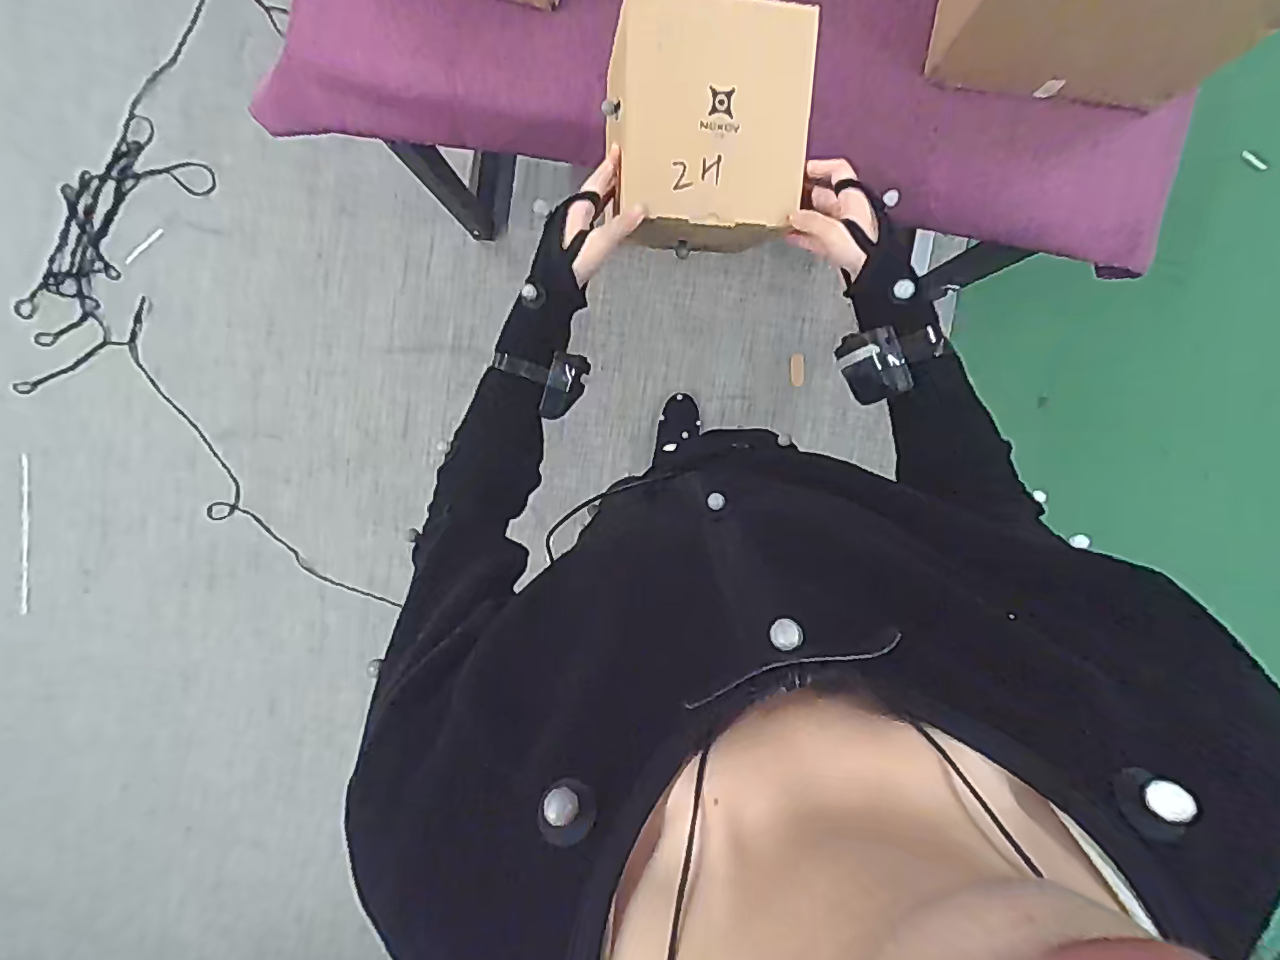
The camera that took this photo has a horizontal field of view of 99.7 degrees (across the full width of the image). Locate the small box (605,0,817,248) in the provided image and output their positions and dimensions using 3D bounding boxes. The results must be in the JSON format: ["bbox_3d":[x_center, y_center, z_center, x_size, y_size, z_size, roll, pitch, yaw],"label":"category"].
[{"bbox_3d":[0.054,-0.343,0.538,0.168,0.176,0.179,0,105,-8],"label":"small box"}]

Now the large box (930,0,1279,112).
[{"bbox_3d":[0.552,-0.689,0.553,0.320,0.320,0.408,9,96,3],"label":"large box"}]
